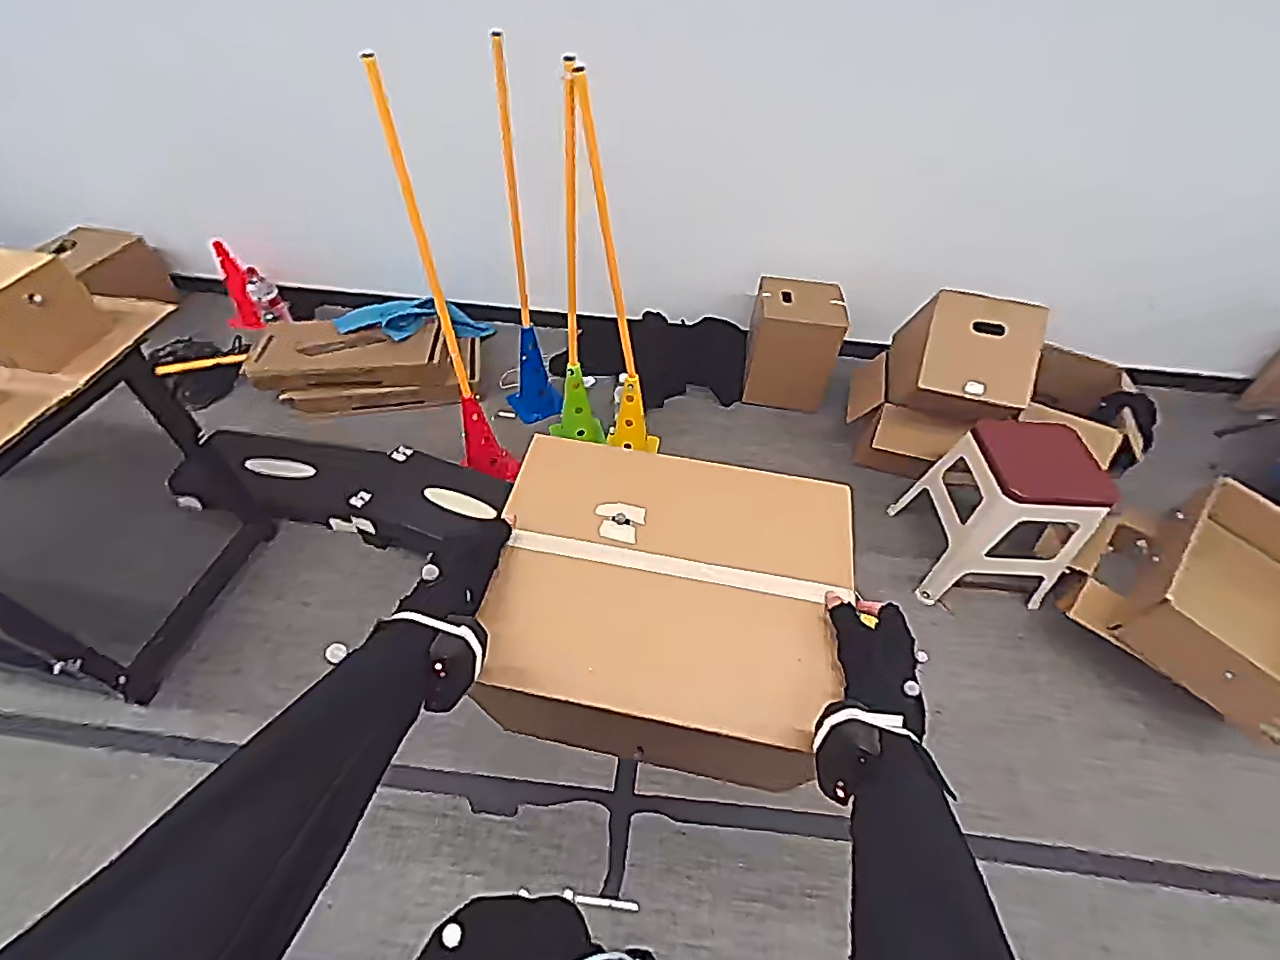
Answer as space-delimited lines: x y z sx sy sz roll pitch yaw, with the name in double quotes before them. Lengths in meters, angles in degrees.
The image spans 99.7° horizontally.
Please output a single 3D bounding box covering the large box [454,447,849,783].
"large box" 0.032 0.192 0.735 0.408 0.320 0.320 10 55 6
